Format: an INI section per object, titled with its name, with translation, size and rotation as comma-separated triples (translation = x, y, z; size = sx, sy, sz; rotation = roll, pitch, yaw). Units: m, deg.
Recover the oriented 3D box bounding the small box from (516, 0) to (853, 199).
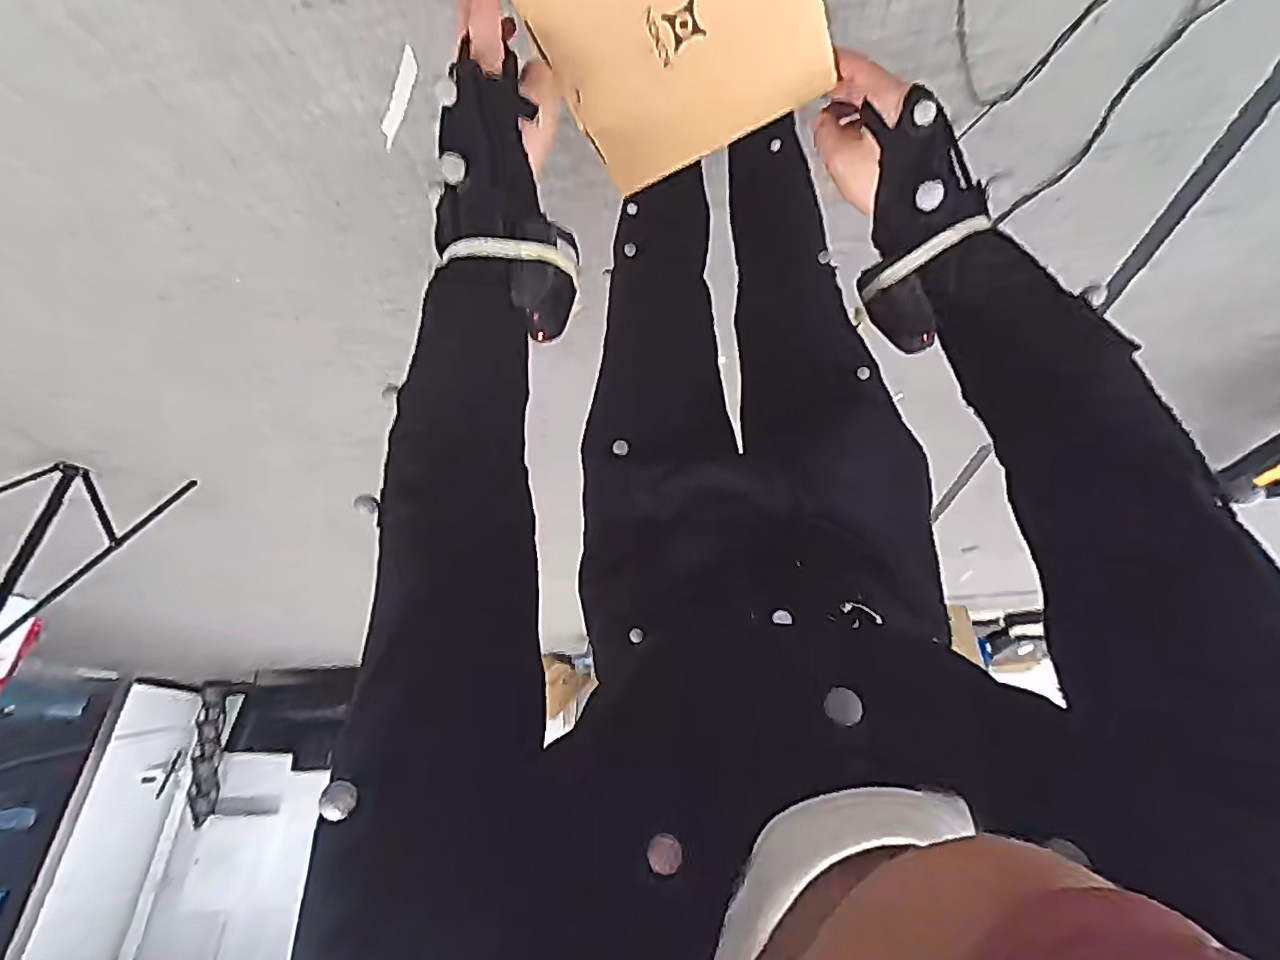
[small box]
translation = 0.030, -0.351, 0.379
size = 0.179, 0.176, 0.168
rotation = -16, 145, 24
